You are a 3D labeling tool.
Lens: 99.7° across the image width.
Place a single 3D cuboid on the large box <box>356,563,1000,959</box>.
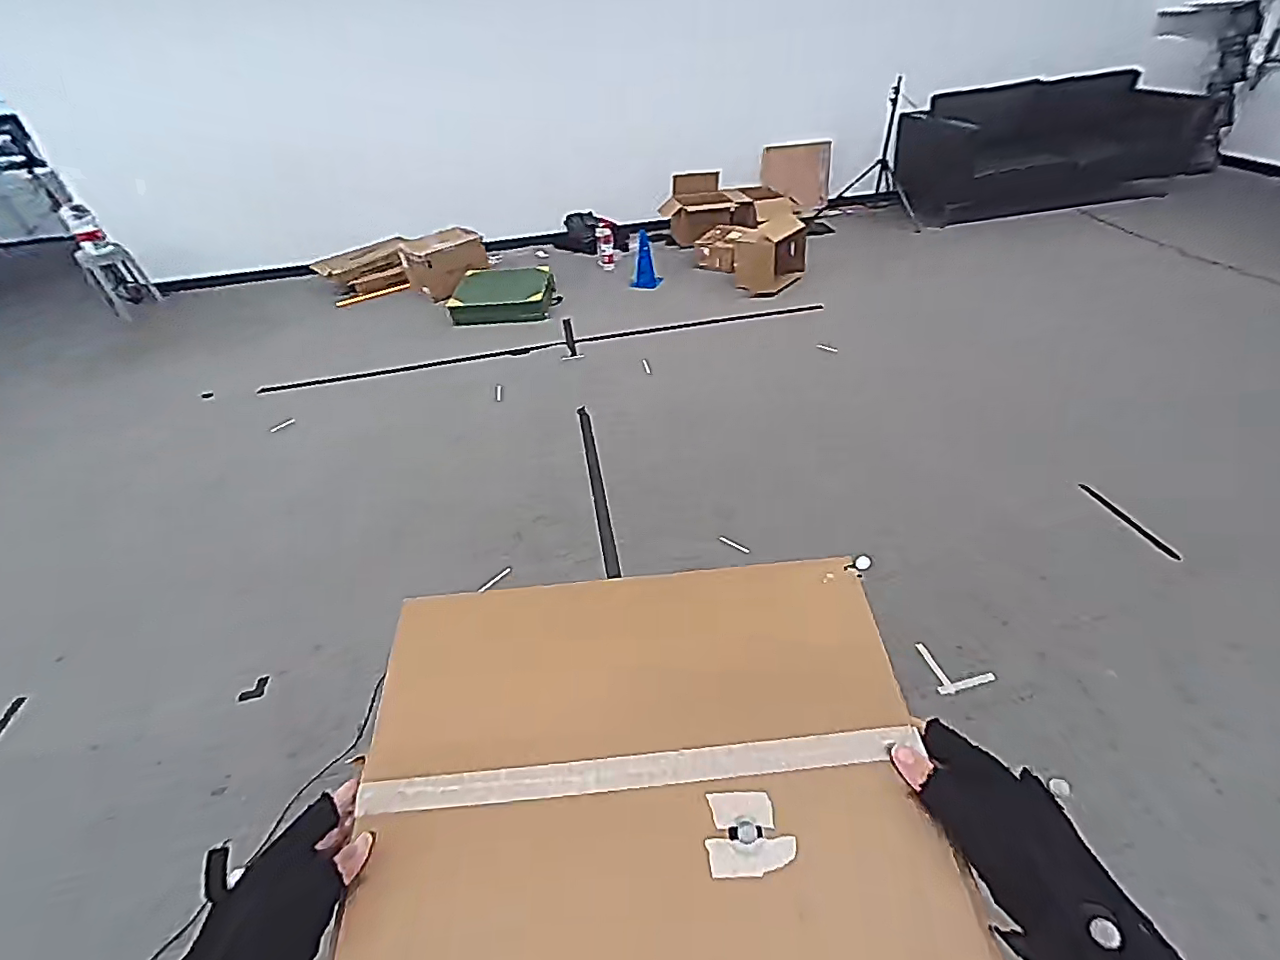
[{"bbox_3d":[0.014,0.310,0.516,0.408,0.320,0.320,-6,52,-1],"label":"large box"}]
